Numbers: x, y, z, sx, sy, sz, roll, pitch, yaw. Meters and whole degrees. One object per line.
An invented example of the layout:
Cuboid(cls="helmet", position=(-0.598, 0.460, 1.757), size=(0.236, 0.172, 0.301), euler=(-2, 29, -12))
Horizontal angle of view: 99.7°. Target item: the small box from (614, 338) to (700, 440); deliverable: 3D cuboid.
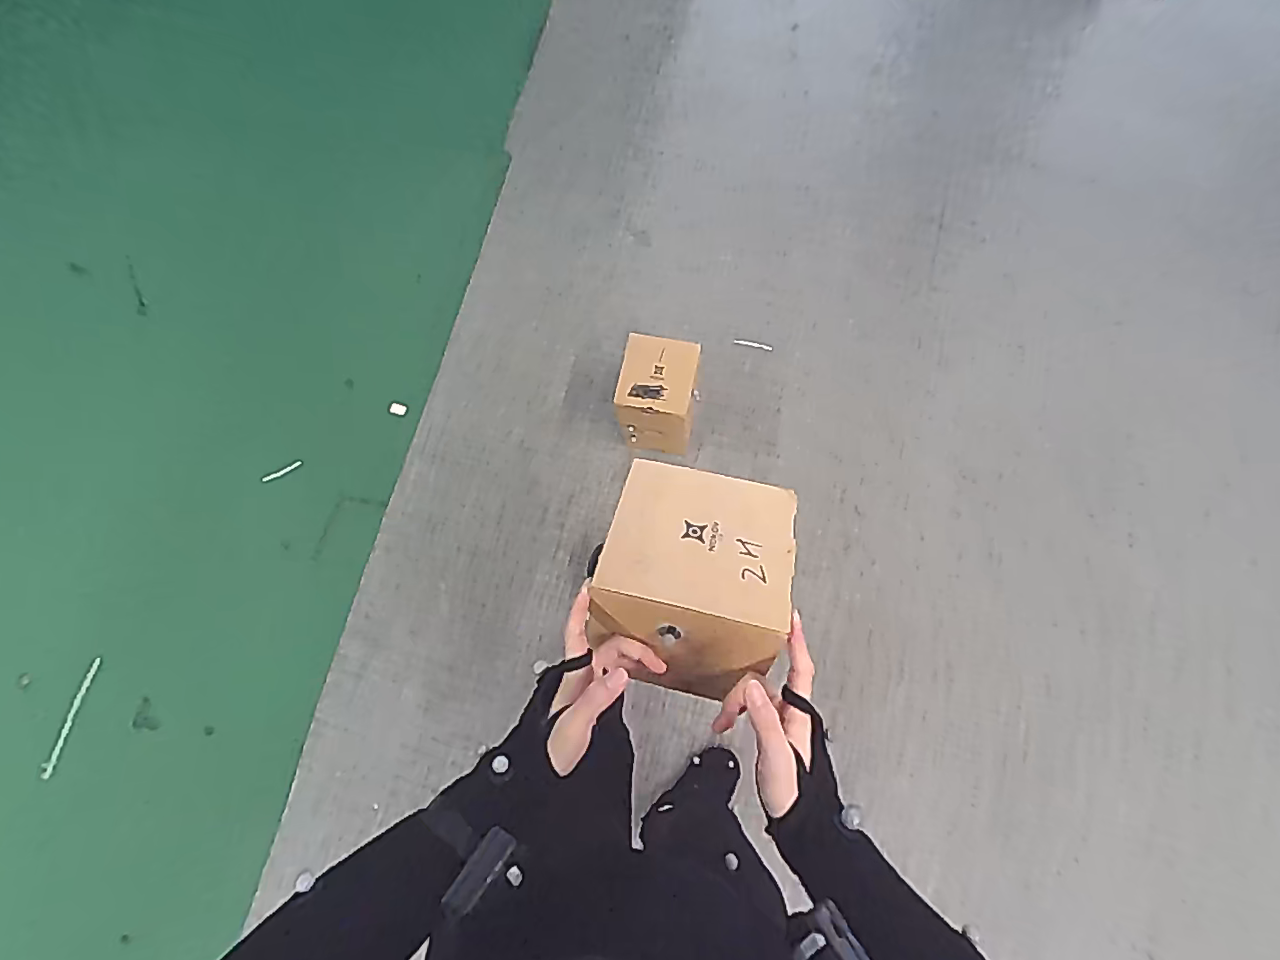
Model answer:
Cuboid(cls="small box", position=(0.043, -0.208, 1.279), size=(0.168, 0.176, 0.179), euler=(11, 77, 6))

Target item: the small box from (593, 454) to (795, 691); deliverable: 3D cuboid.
Cuboid(cls="small box", position=(0.054, 0.101, 0.576), size=(0.179, 0.176, 0.168), euler=(13, 47, 6))
